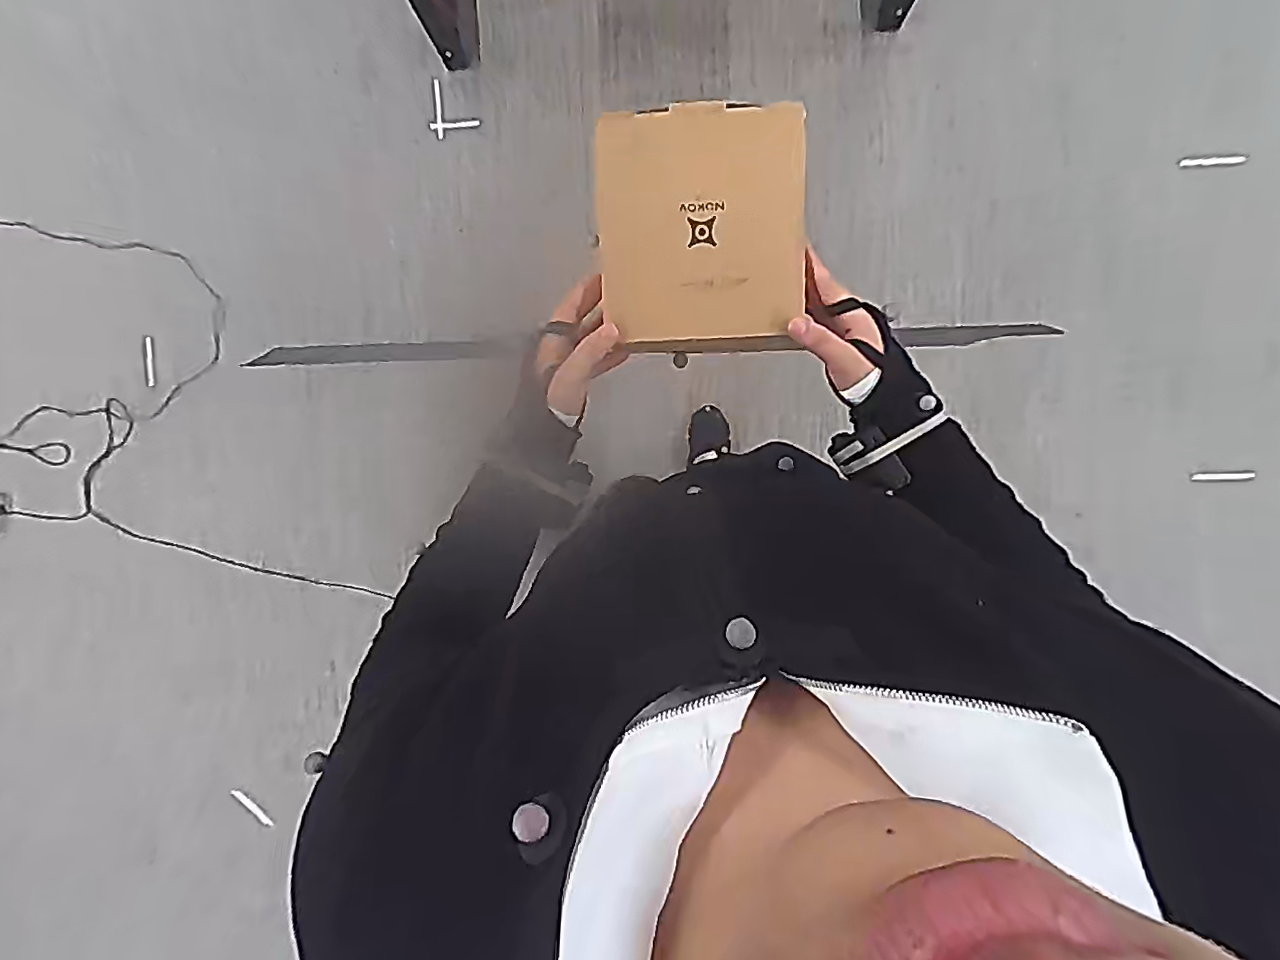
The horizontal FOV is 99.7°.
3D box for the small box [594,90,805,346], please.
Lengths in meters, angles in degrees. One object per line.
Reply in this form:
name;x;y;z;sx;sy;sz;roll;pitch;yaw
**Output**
small box;0.047;-0.223;0.504;0.168;0.176;0.179;-2;101;1
